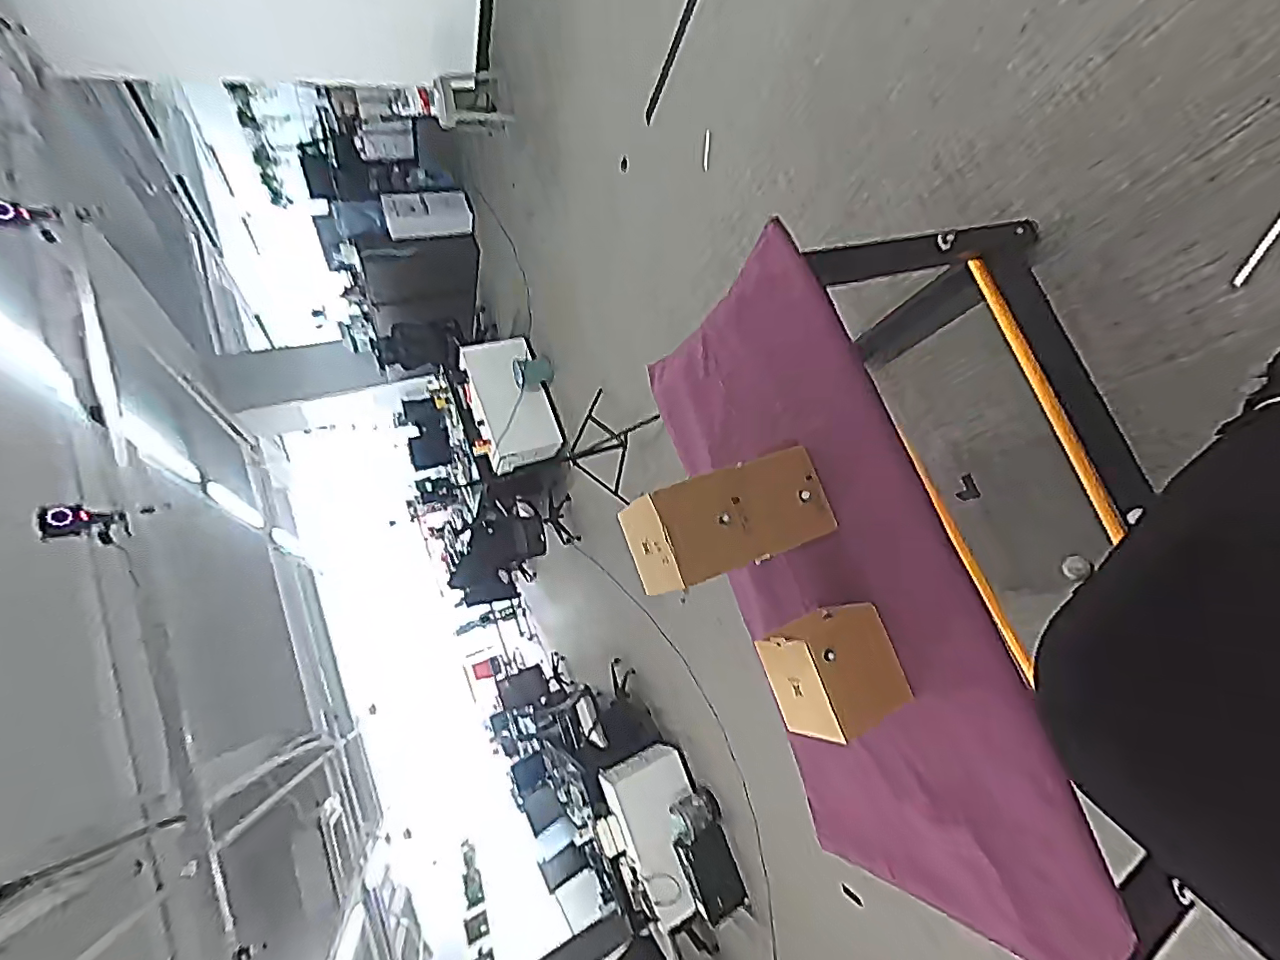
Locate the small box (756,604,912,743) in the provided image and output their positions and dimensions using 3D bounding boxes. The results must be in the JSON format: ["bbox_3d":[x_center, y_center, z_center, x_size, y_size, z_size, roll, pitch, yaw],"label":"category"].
[{"bbox_3d":[0.348,0.339,0.975,0.179,0.176,0.168,69,156,9],"label":"small box"}]

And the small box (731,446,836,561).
[{"bbox_3d":[0.233,0.052,1.027,0.168,0.176,0.179,69,155,8],"label":"small box"}]

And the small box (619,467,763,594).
[{"bbox_3d":[0.087,0.092,0.961,0.168,0.176,0.179,68,156,7],"label":"small box"}]
